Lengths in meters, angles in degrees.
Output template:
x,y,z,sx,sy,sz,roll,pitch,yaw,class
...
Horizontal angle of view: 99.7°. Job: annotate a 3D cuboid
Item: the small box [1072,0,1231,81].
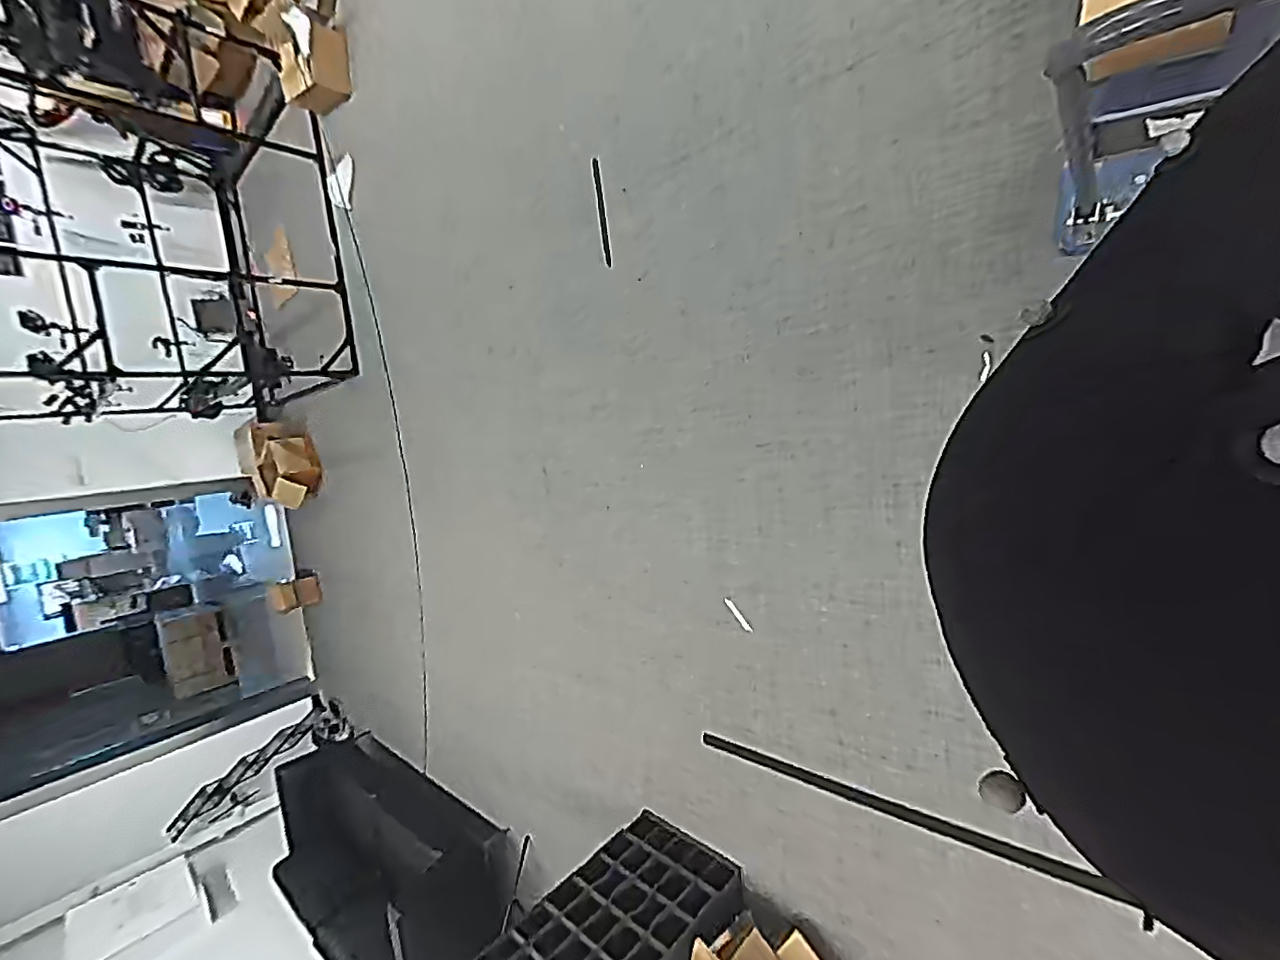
x,y,z,sx,sy,sz,roll,pitch,yaw,class
0.792,-0.754,0.828,0.179,0.176,0.168,12,106,39,small box
